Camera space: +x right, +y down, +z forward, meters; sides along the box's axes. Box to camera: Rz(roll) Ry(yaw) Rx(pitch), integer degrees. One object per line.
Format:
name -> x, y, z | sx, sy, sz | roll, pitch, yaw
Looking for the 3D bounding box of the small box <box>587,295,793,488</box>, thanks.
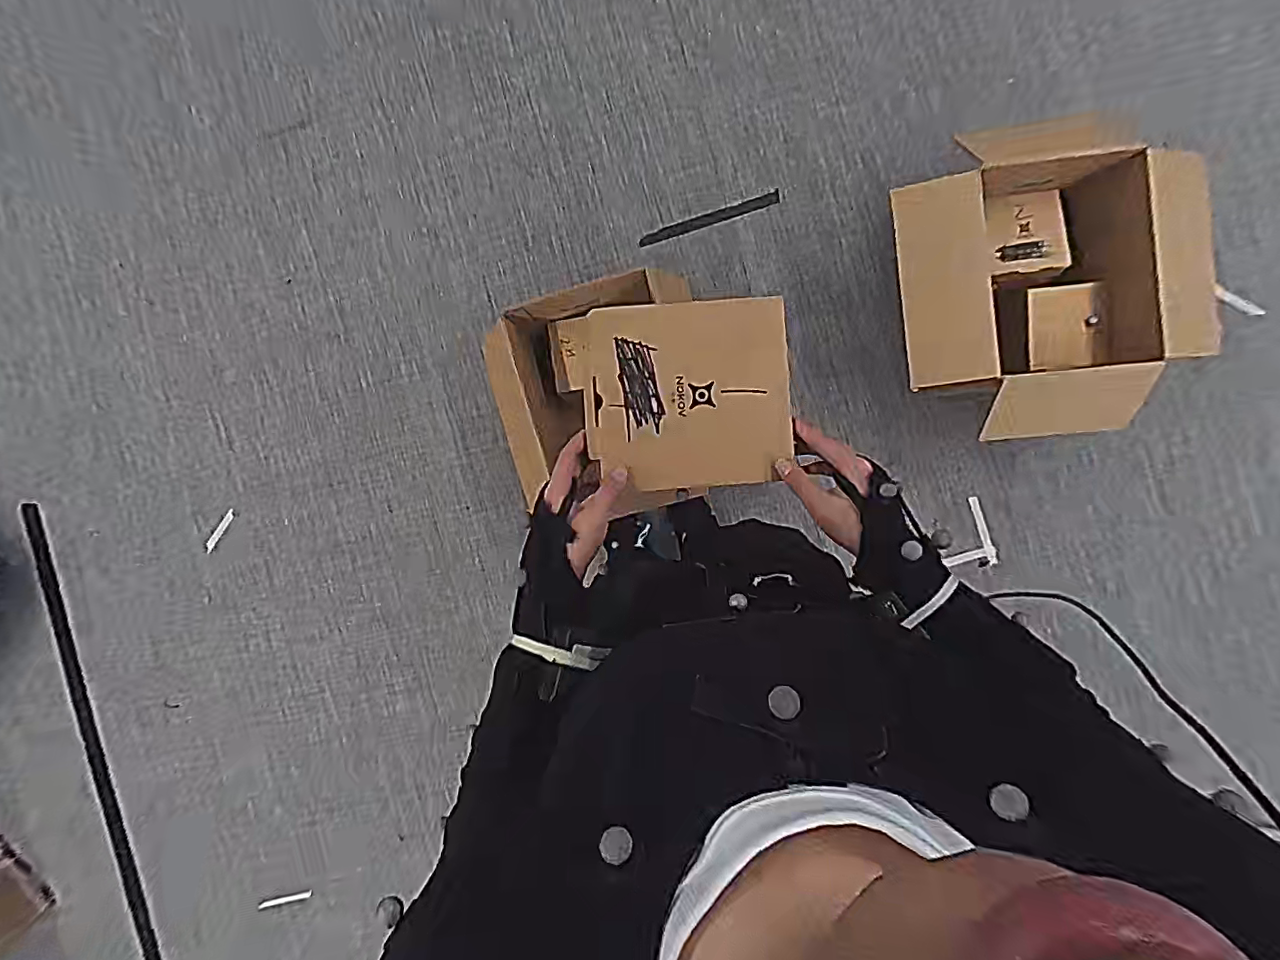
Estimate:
small box -> 0.046, -0.079, 0.559 | 0.179, 0.176, 0.168 | -4, 92, 0
